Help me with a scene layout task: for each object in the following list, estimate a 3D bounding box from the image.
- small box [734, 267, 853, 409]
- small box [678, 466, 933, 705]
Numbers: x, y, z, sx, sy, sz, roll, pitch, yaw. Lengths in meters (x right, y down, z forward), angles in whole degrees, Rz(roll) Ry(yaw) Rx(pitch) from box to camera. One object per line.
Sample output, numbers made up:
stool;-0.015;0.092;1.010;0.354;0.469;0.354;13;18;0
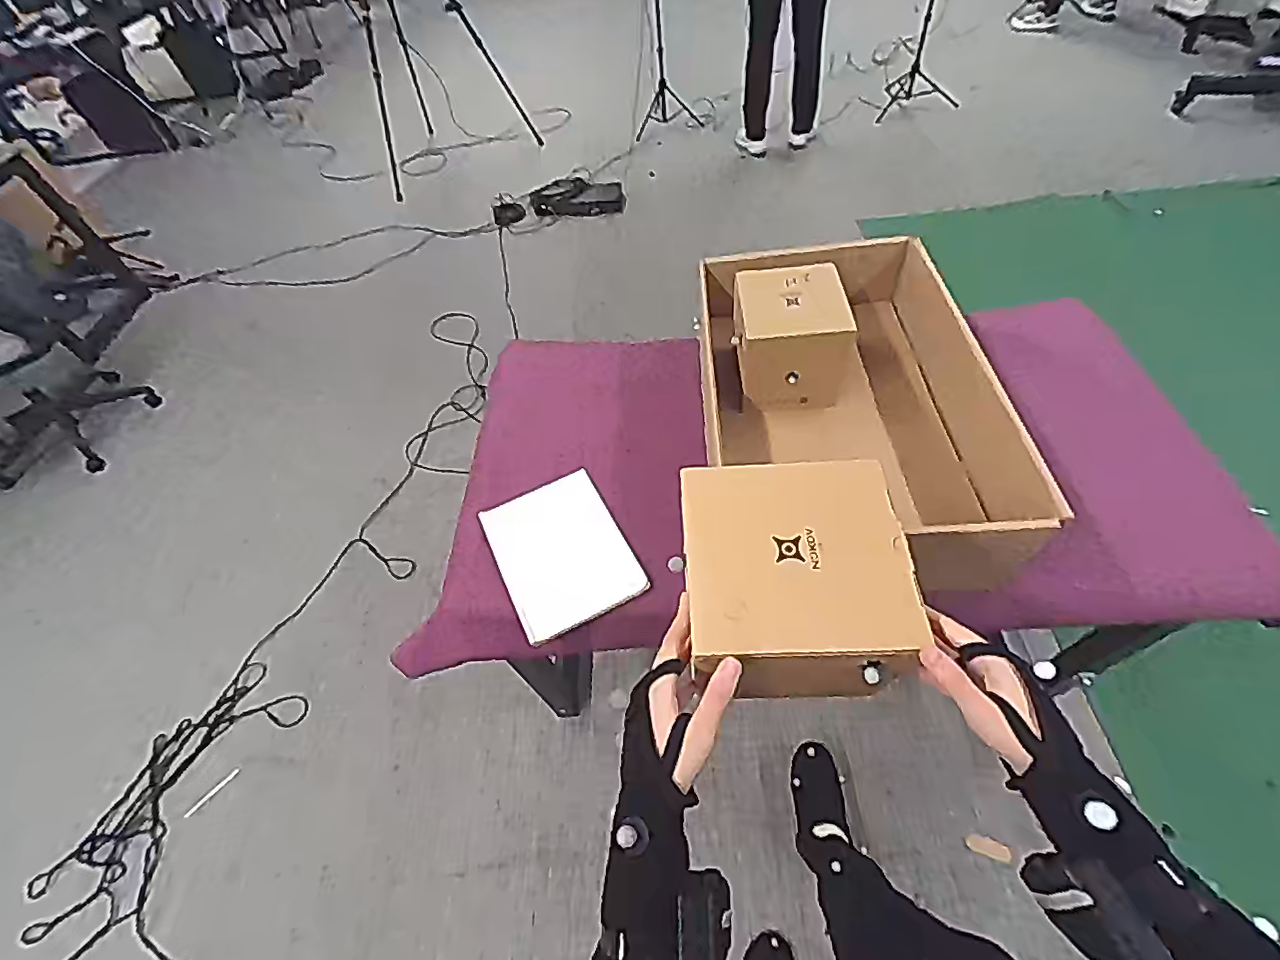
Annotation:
small box;0.252;-0.235;0.929;0.168;0.176;0.179;-3;54;6
small box;0.128;0.104;0.493;0.179;0.176;0.168;-3;57;3
